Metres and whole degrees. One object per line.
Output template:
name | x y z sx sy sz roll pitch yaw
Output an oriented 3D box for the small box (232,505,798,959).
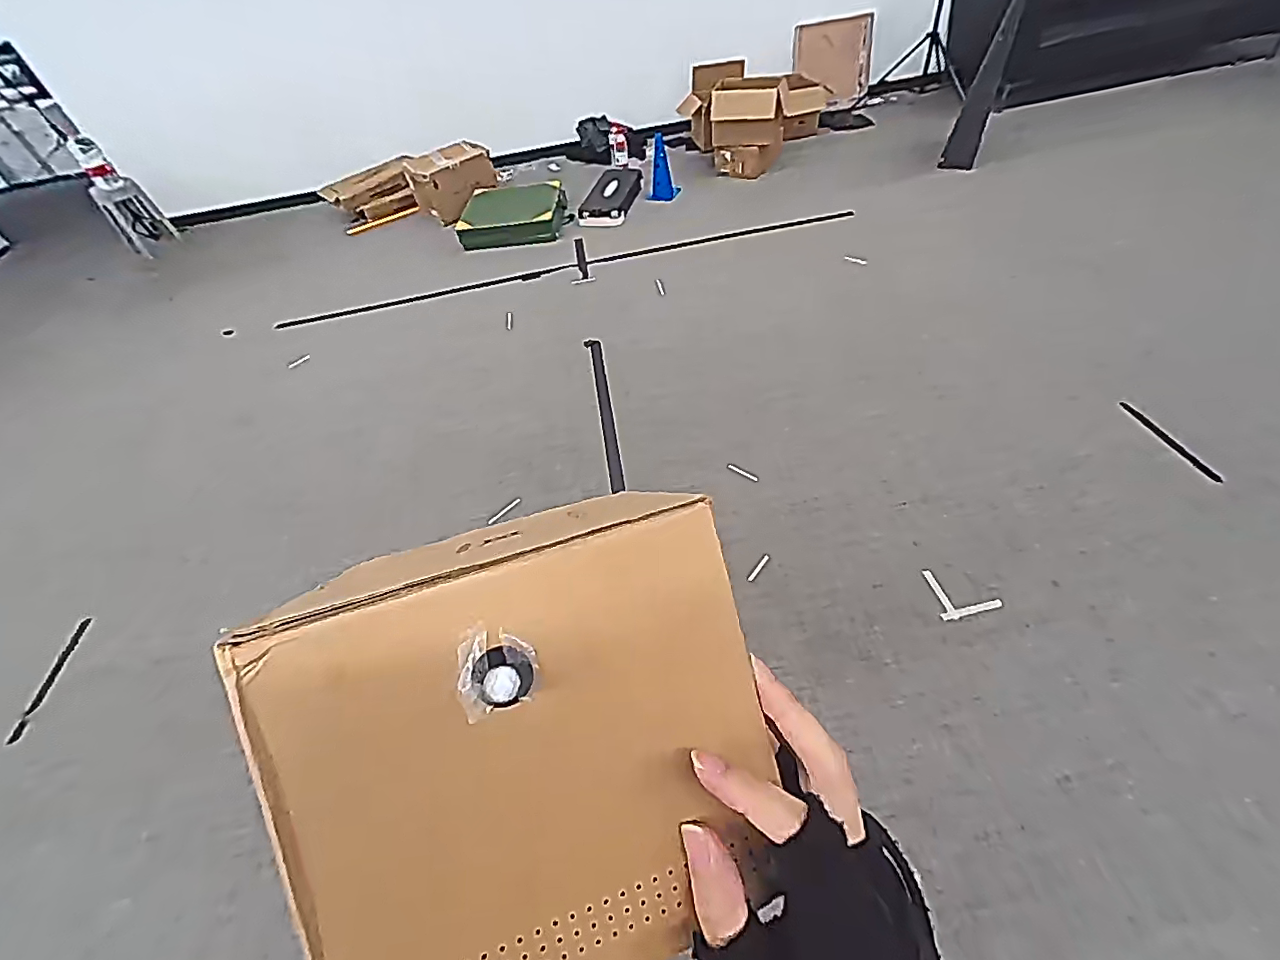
small box | -0.049 0.117 0.273 0.179 0.168 0.176 -15 93 -12
